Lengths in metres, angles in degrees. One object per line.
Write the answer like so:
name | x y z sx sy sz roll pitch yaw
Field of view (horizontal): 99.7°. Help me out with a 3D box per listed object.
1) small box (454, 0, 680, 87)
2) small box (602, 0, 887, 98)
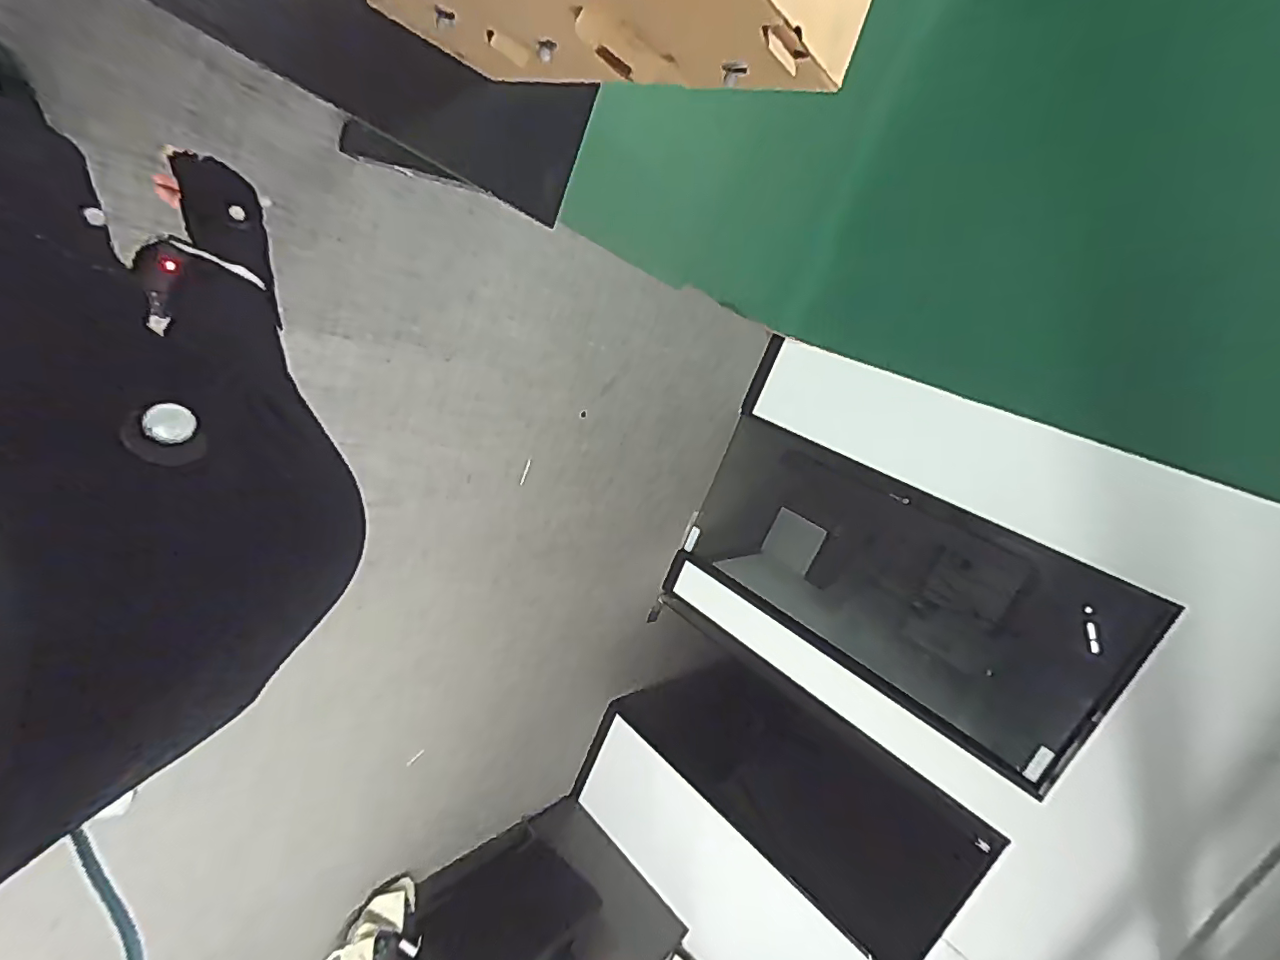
small box | -0.051 -0.490 0.485 0.168 0.176 0.179 -7 121 -49
small box | 0.082 -0.412 0.391 0.168 0.176 0.179 -8 121 -50
